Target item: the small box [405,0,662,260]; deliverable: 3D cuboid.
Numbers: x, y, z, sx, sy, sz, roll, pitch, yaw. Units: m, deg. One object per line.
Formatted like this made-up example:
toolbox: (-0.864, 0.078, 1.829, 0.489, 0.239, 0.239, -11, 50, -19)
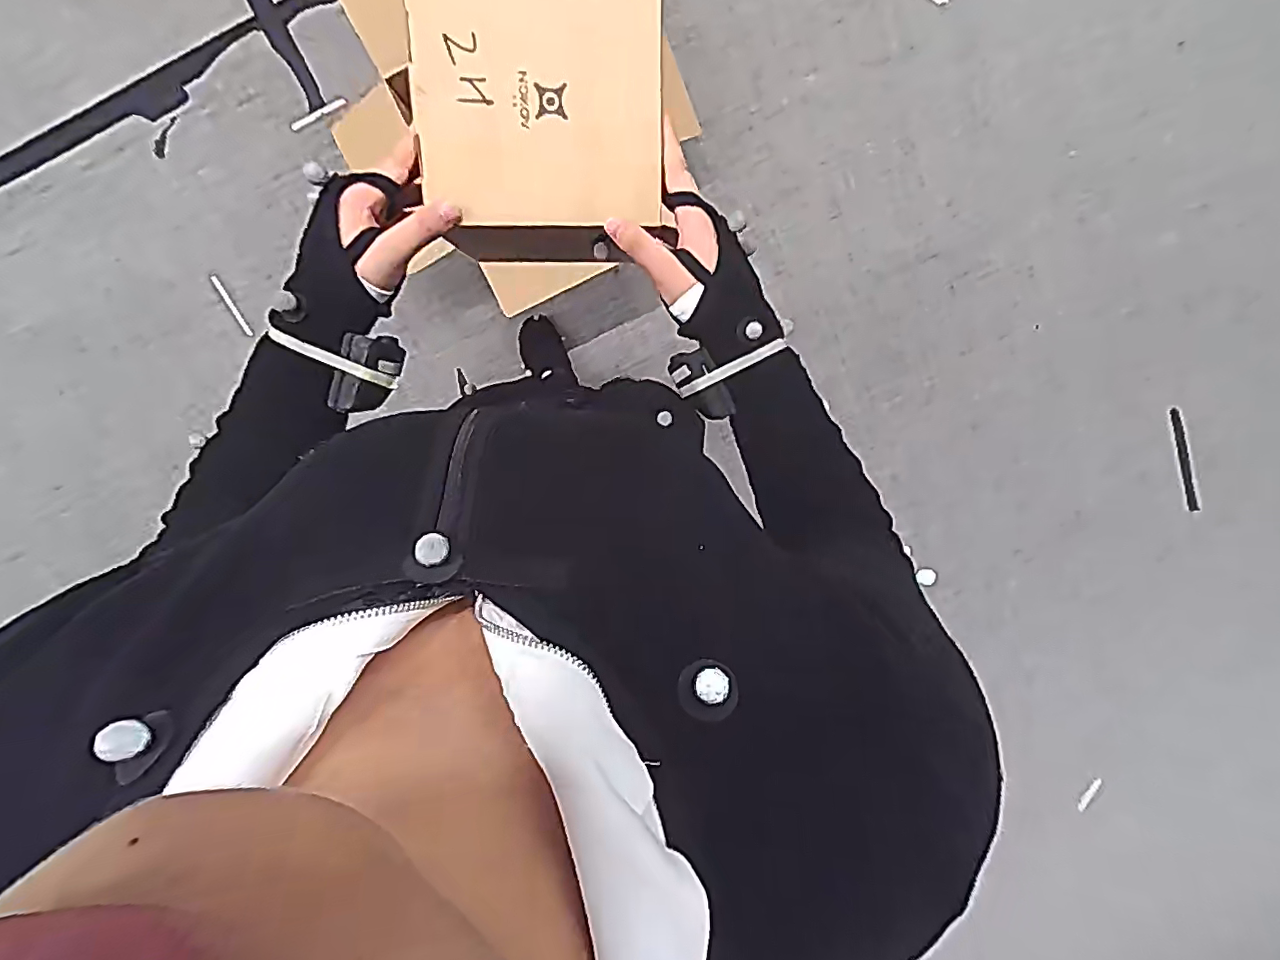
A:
small box: (-0.077, -0.288, 0.459, 0.179, 0.176, 0.168, -1, 103, -3)
